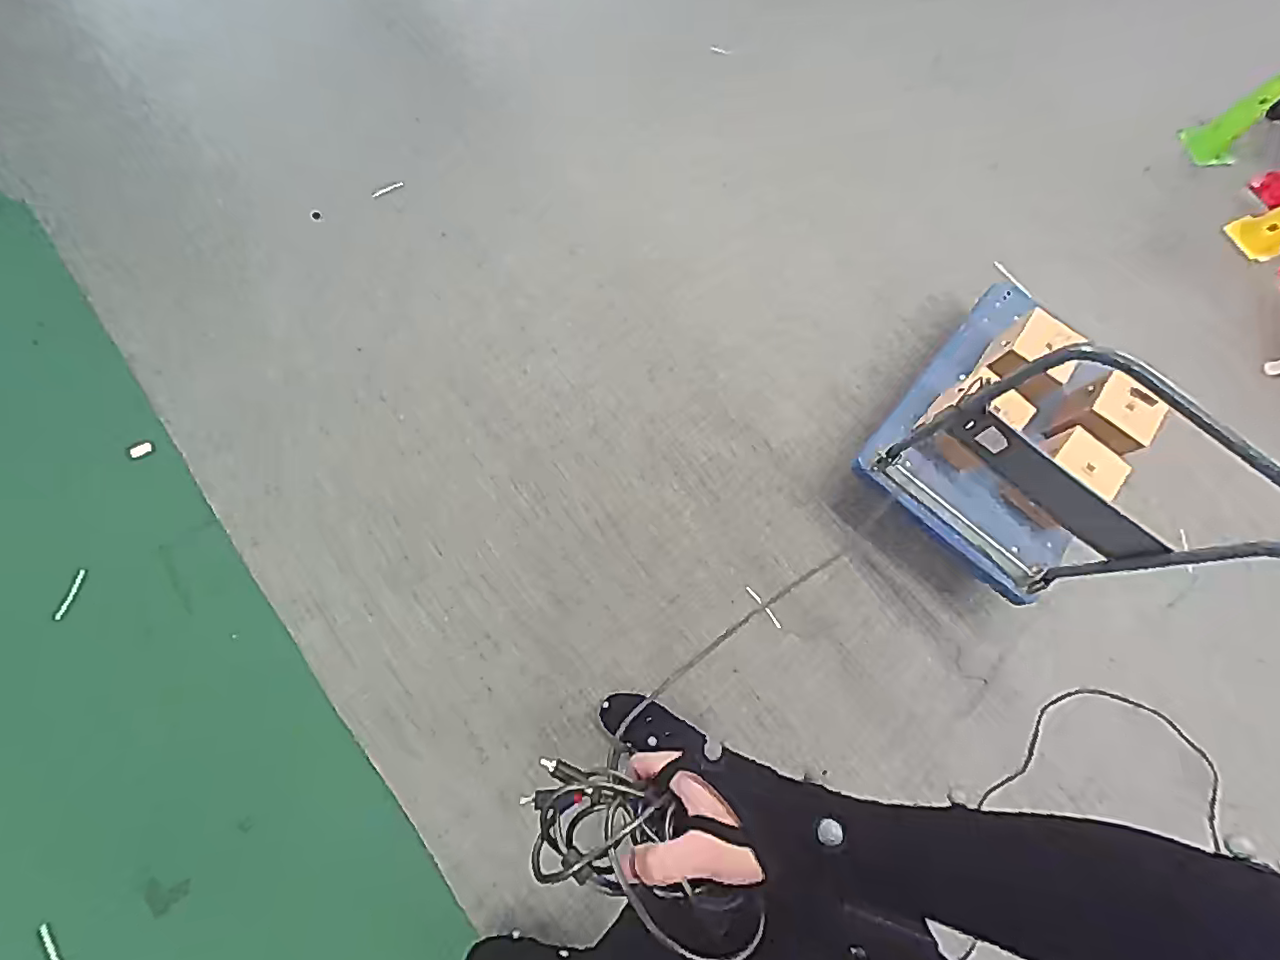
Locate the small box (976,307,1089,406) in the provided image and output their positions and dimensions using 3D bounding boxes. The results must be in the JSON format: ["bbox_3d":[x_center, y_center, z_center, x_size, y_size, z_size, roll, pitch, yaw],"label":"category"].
[{"bbox_3d":[1.088,-0.338,1.516,0.168,0.176,0.179,38,73,5],"label":"small box"}]

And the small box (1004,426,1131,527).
[{"bbox_3d":[1.108,-0.004,1.416,0.168,0.176,0.179,43,74,8],"label":"small box"}]

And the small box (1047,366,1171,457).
[{"bbox_3d":[1.278,-0.172,1.486,0.168,0.176,0.179,40,74,7],"label":"small box"}]
